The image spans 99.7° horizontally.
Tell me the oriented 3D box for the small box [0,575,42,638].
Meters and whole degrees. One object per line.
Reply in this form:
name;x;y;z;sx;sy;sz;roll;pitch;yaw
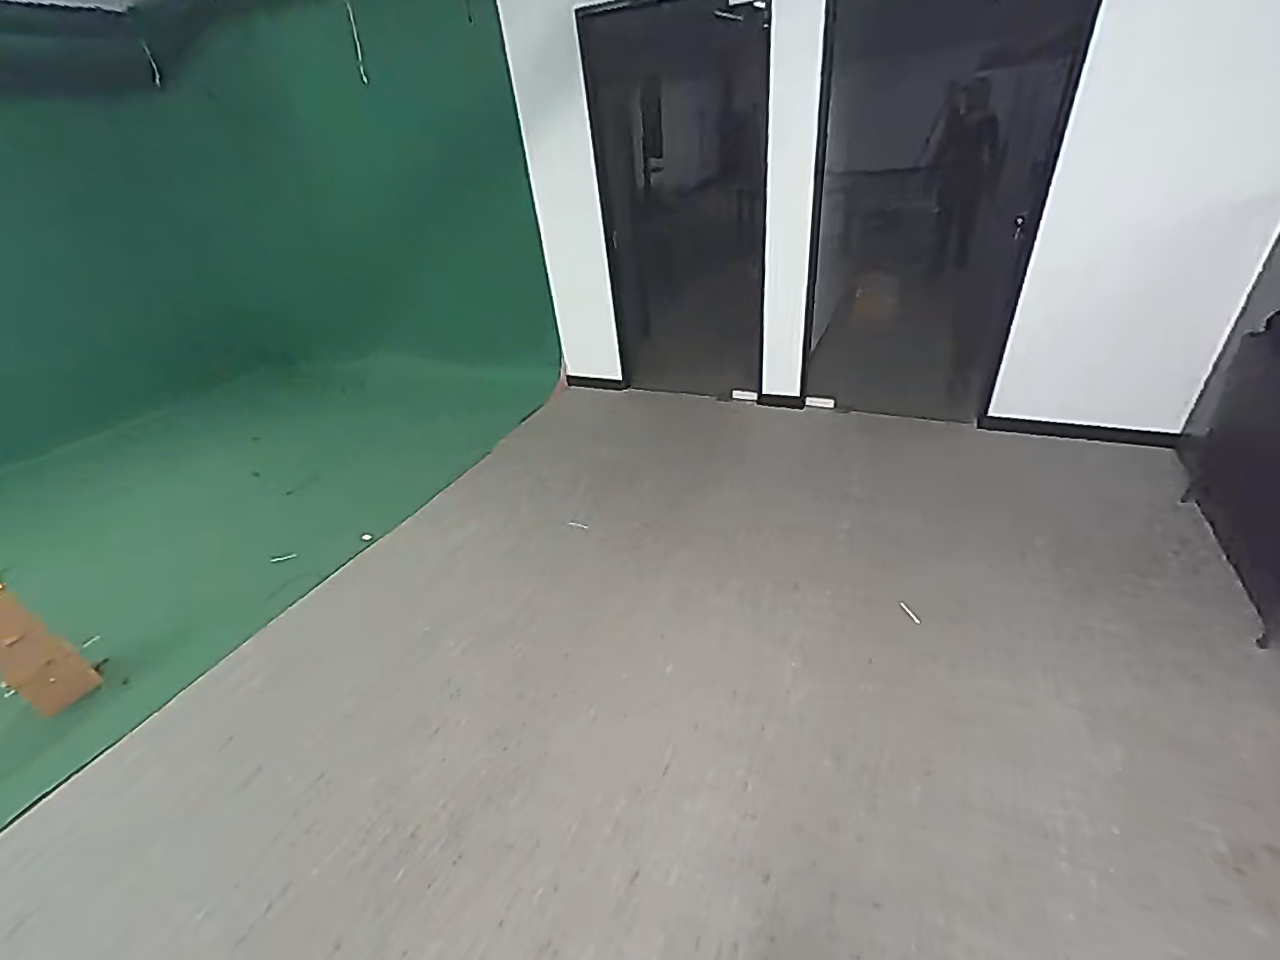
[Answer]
small box;-2.145;0.422;1.767;0.168;0.176;0.179;12;39;27

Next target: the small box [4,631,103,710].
small box;-2.108;0.689;1.955;0.168;0.176;0.179;14;39;27
